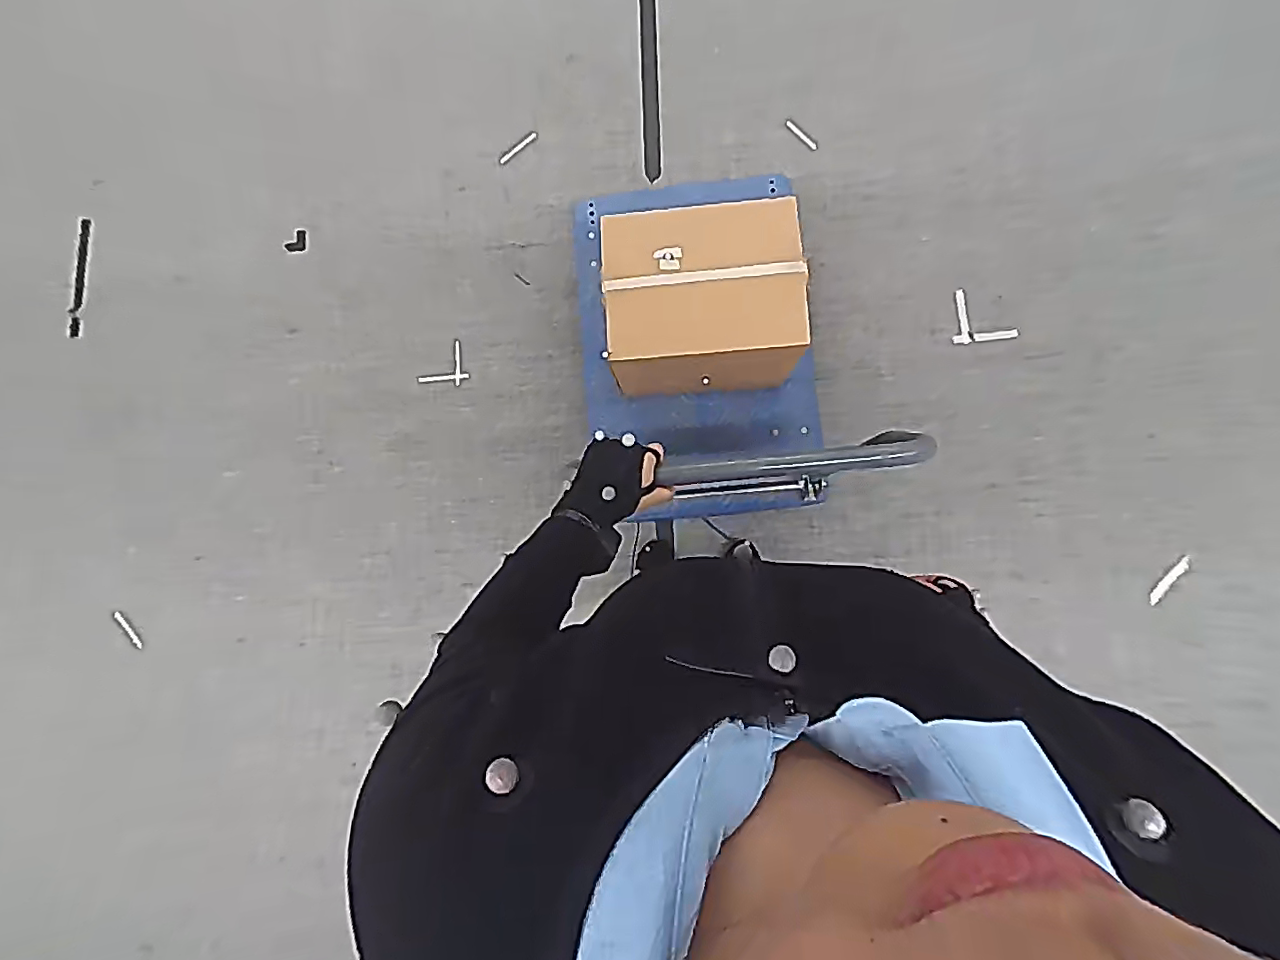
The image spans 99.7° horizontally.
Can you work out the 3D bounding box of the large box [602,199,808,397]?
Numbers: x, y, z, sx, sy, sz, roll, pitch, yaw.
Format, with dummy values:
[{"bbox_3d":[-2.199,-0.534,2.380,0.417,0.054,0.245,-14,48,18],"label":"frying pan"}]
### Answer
[{"bbox_3d":[0.142,-0.393,1.252,0.408,0.320,0.320,-4,83,5],"label":"large box"}]
